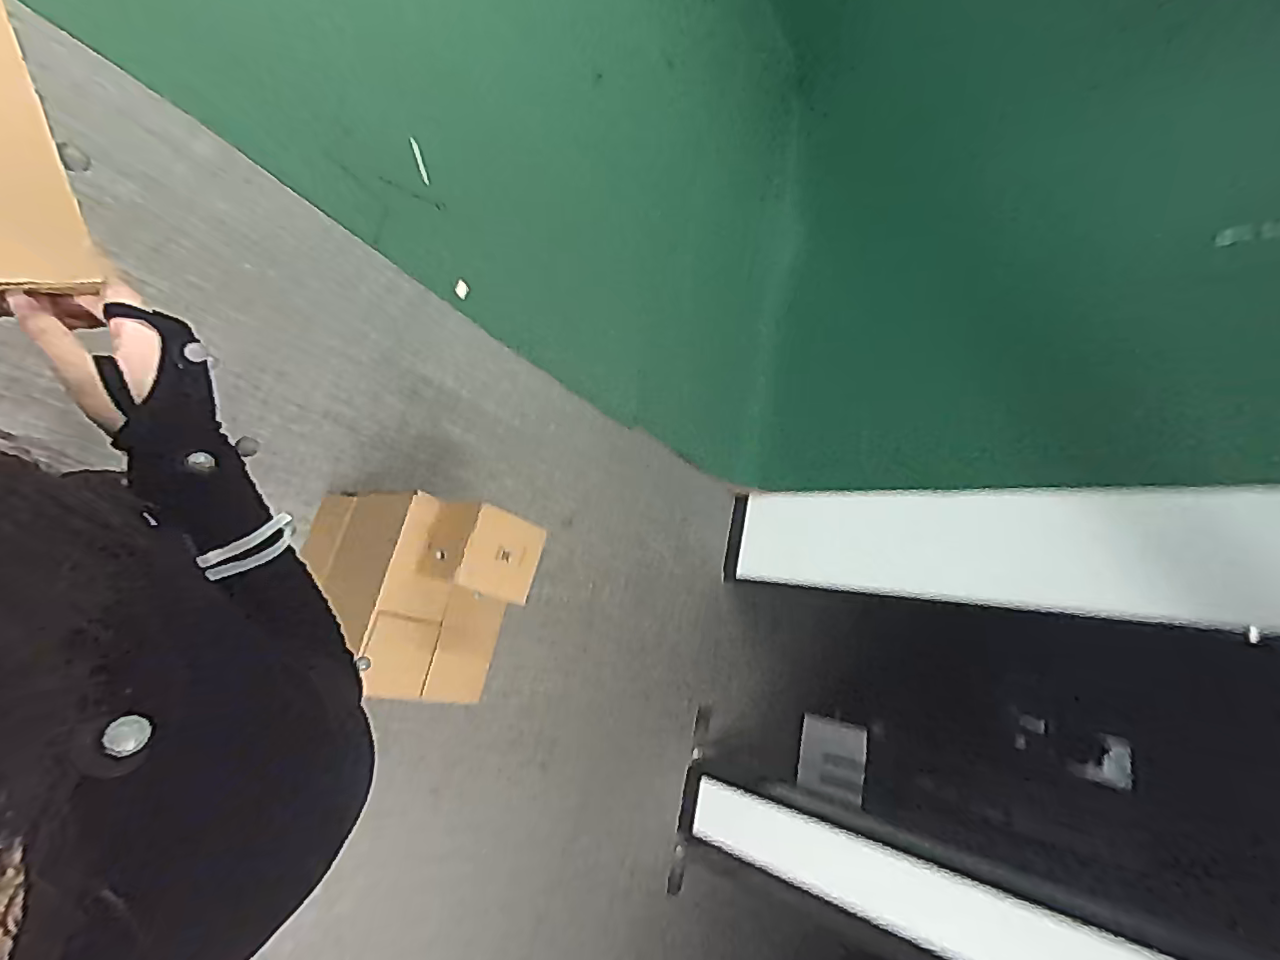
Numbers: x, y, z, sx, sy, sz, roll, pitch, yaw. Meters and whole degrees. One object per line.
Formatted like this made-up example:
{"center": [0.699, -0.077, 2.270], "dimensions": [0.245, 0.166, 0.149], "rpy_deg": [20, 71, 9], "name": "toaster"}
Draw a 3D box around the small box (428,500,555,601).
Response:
{"center": [-0.320, 0.149, 1.154], "dimensions": [0.179, 0.176, 0.168], "rpy_deg": [32, 67, -42], "name": "small box"}
